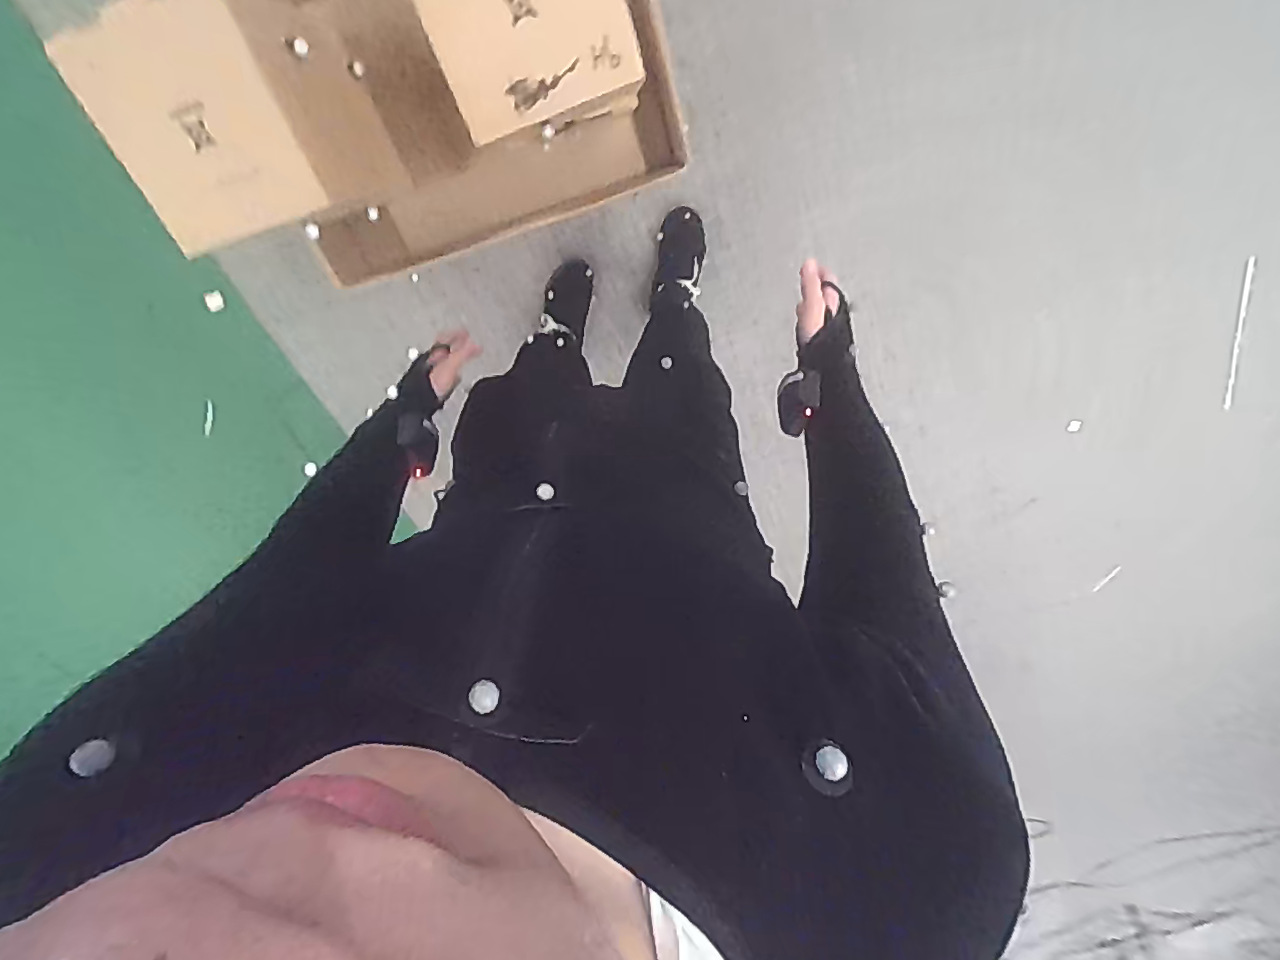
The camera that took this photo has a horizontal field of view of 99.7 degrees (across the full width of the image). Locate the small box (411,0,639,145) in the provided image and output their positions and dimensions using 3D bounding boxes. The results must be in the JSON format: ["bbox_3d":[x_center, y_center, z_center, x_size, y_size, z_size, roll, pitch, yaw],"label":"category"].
[{"bbox_3d":[-0.107,-0.438,0.508,0.168,0.176,0.179,-17,121,9],"label":"small box"}]

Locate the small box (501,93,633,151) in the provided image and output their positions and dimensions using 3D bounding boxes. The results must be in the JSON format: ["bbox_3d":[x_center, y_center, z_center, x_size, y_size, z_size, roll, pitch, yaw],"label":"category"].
[{"bbox_3d":[-0.108,-0.520,0.650,0.168,0.176,0.179,-15,121,7],"label":"small box"}]

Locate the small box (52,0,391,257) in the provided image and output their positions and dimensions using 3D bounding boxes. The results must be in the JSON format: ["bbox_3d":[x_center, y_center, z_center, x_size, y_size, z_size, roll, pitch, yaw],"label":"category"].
[{"bbox_3d":[-0.396,-0.351,0.554,0.168,0.176,0.179,-14,121,9],"label":"small box"}]
